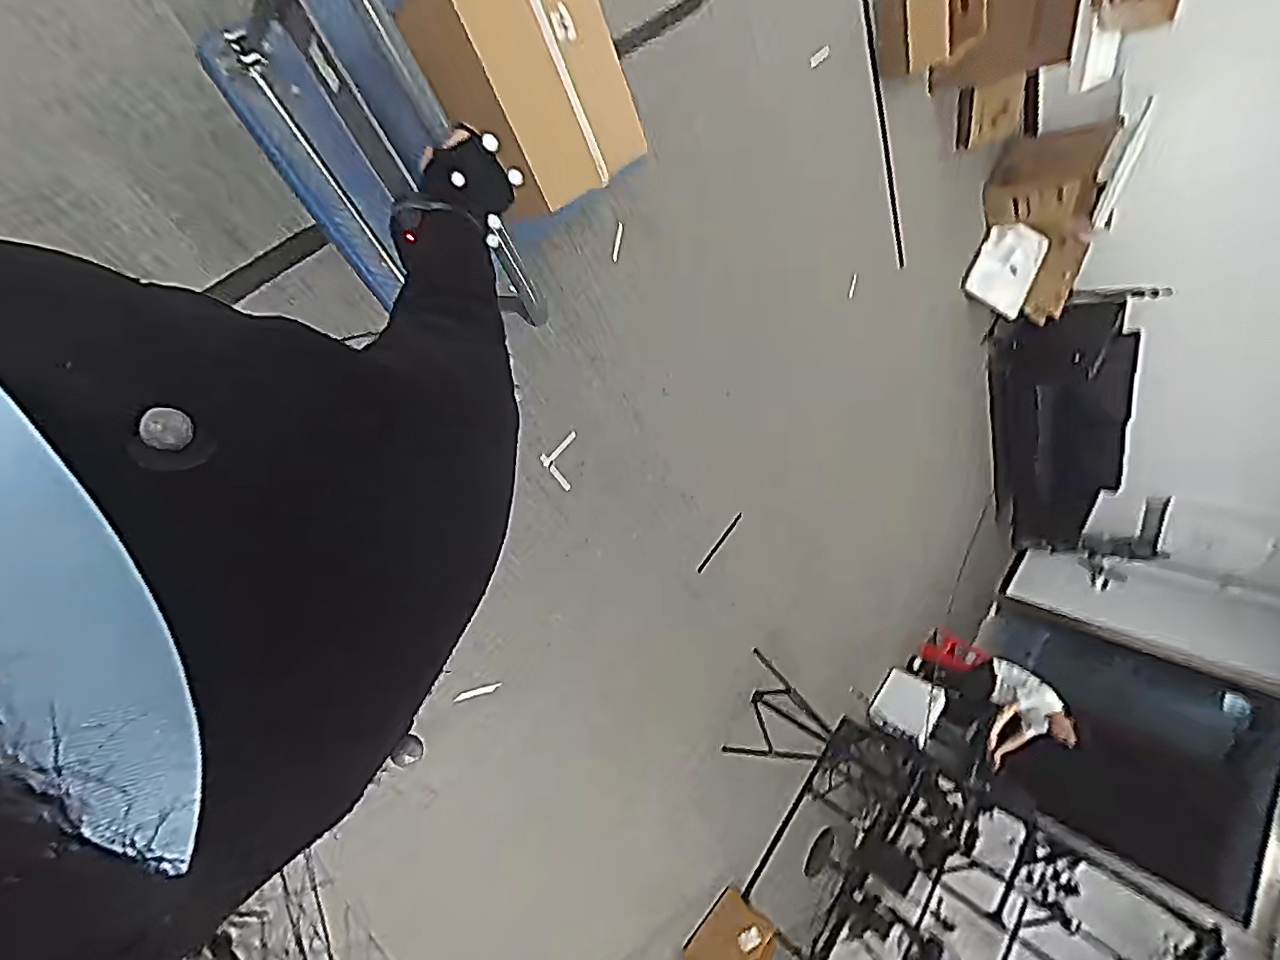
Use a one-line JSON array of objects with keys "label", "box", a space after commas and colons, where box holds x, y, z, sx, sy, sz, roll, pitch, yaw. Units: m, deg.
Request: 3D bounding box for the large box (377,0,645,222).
[{"label": "large box", "box": [-0.259, -0.825, 1.139, 0.320, 0.320, 0.408, -46, 128, -24]}]
